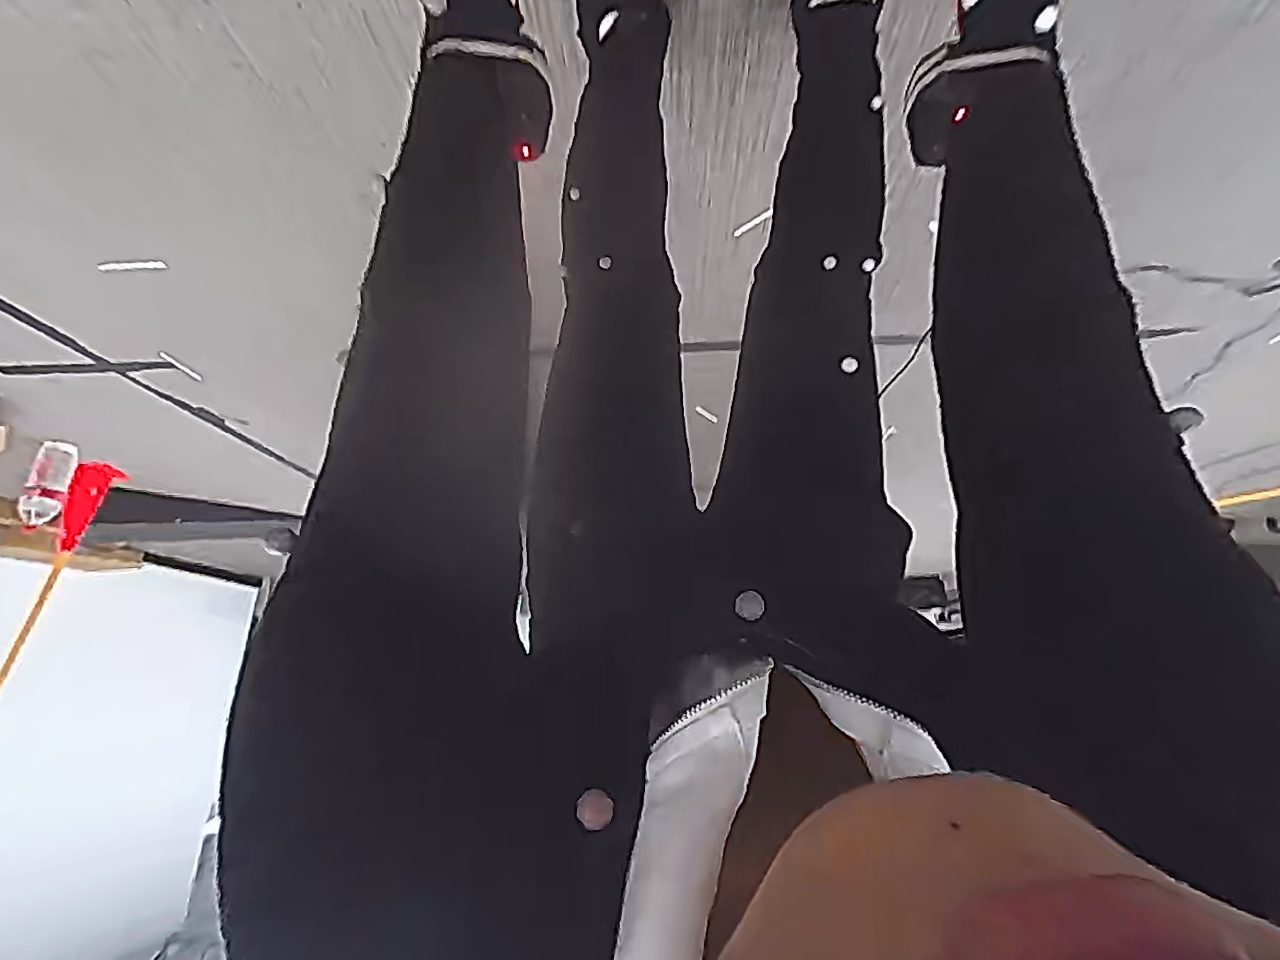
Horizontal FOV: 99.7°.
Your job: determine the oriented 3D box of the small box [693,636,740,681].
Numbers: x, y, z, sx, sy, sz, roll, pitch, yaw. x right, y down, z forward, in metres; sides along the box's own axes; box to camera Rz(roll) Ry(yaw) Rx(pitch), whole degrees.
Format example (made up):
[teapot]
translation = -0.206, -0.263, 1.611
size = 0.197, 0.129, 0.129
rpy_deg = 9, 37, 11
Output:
[small box]
translation = 0.306, 0.725, 2.200
size = 0.168, 0.176, 0.179
rpy_deg = -1, 160, 1
